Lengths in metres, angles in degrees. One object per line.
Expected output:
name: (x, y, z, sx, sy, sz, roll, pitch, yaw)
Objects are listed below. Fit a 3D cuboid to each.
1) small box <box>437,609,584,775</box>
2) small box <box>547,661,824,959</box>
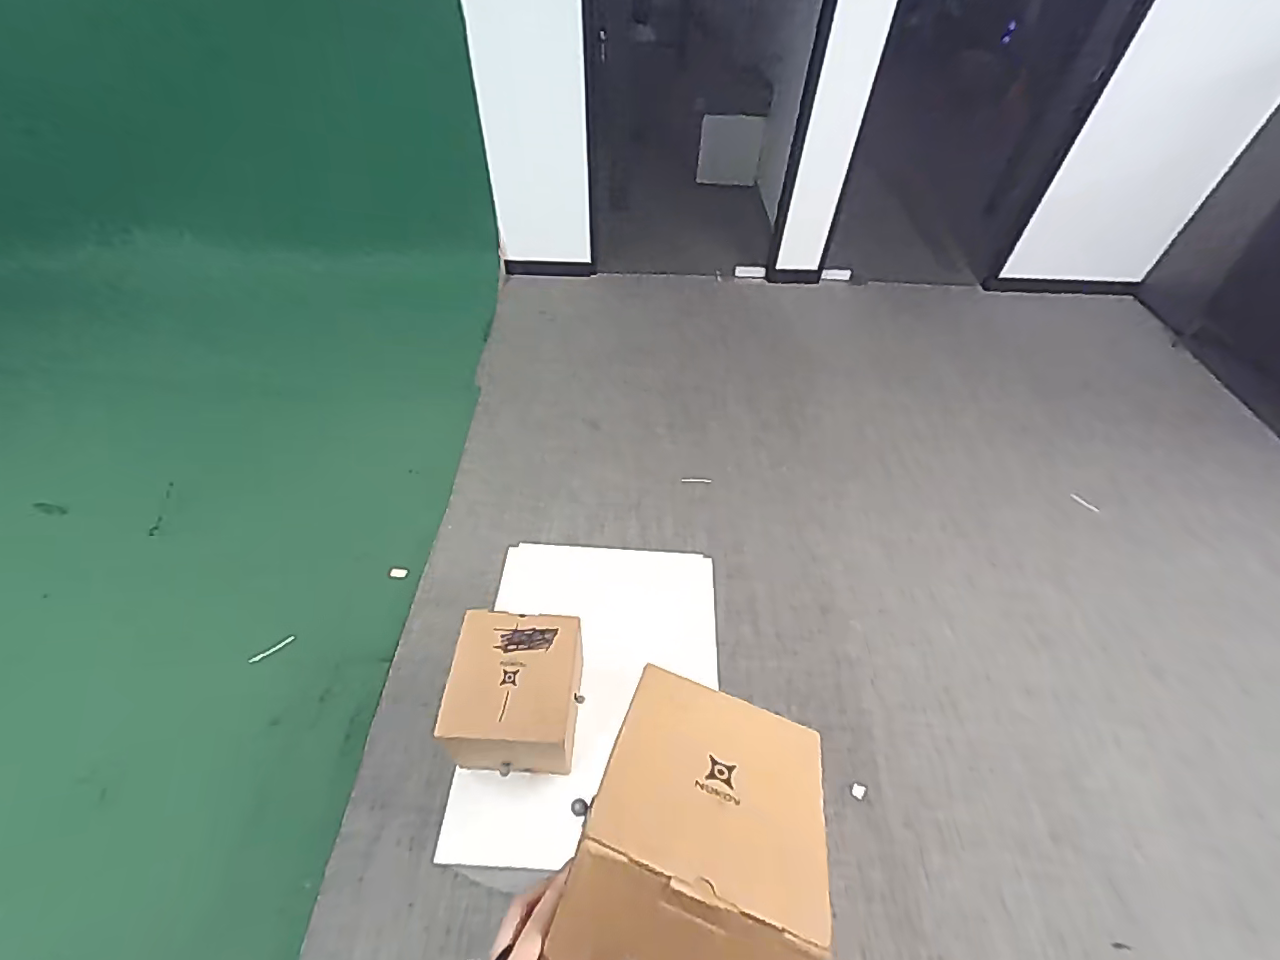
small box: (-0.173, 0.311, 0.789, 0.168, 0.176, 0.179, 3, 50, 0)
small box: (0.038, 0.295, 0.449, 0.168, 0.176, 0.179, 20, 24, 8)
